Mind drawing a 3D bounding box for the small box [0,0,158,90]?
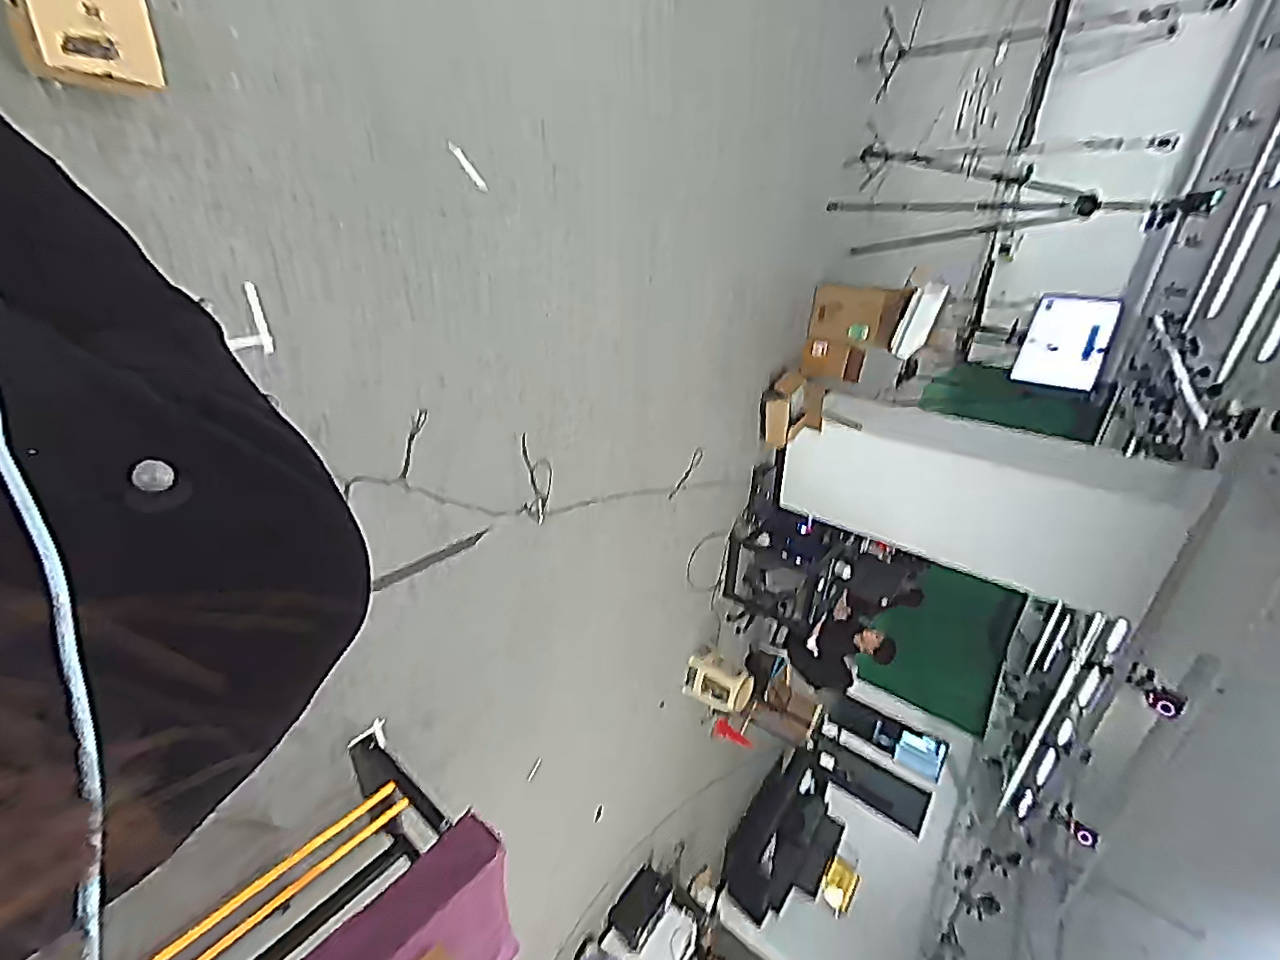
[{"bbox_3d":[-1.015,-0.827,0.971,0.168,0.176,0.179,-25,126,-47],"label":"small box"}]

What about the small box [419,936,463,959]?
[{"bbox_3d":[-0.563,1.429,1.483,0.179,0.176,0.168,-26,128,-46],"label":"small box"}]
